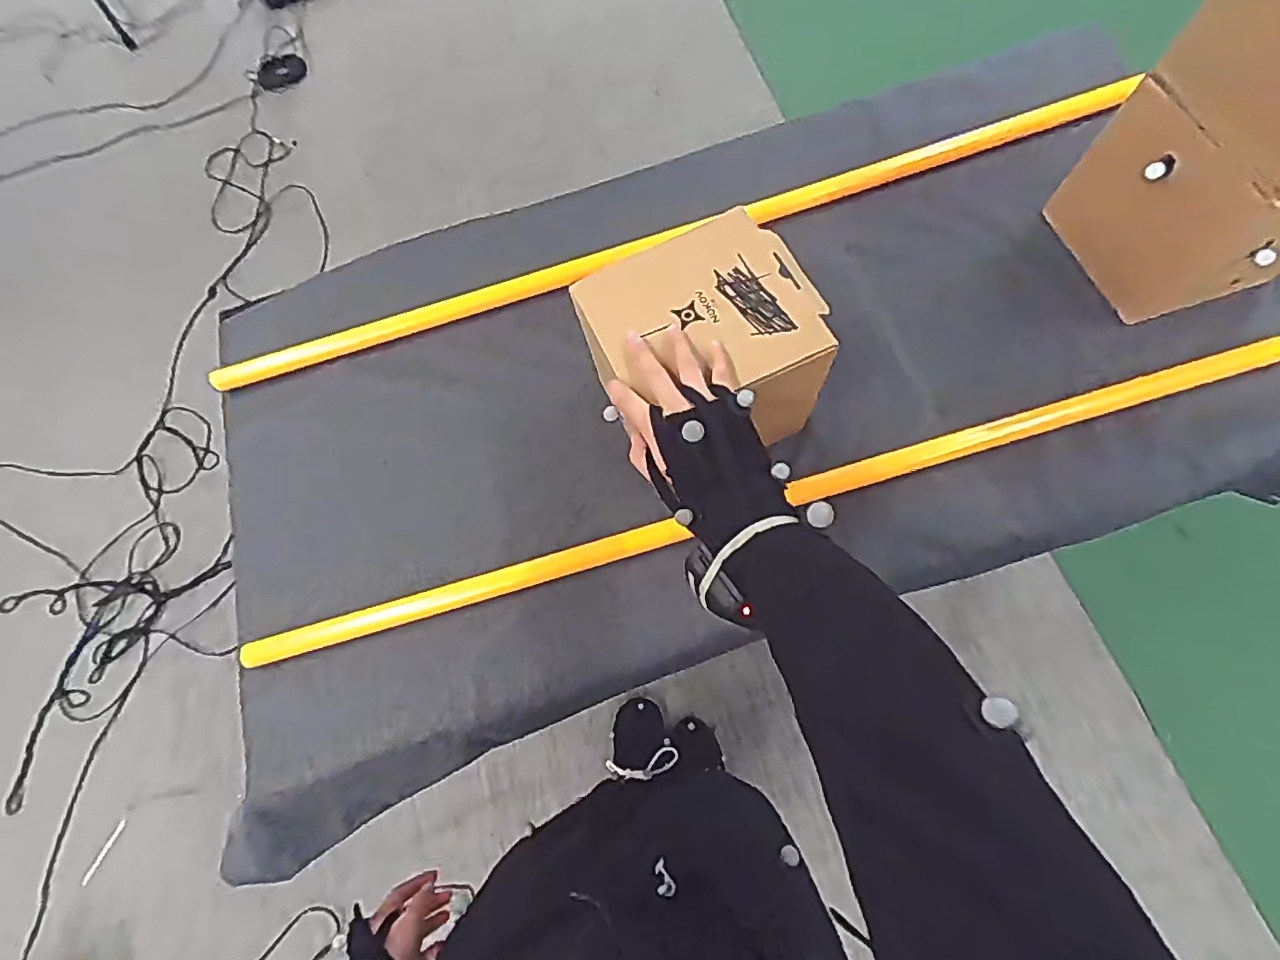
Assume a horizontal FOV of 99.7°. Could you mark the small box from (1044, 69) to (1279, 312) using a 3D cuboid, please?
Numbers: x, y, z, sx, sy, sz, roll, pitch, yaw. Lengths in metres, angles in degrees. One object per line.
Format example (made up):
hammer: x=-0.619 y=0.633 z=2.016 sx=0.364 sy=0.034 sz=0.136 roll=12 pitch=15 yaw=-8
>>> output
small box: x=0.569 y=-0.295 z=0.544 sx=0.168 sy=0.176 sz=0.179 roll=-18 pitch=69 yaw=1

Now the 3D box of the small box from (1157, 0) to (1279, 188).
small box: x=0.556 y=-0.352 z=0.392 sx=0.168 sy=0.176 sz=0.179 roll=-20 pitch=70 yaw=1

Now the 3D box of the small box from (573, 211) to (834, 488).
small box: x=0.057 y=-0.116 z=0.536 sx=0.179 sy=0.176 sz=0.168 roll=-26 pitch=70 yaw=-2
